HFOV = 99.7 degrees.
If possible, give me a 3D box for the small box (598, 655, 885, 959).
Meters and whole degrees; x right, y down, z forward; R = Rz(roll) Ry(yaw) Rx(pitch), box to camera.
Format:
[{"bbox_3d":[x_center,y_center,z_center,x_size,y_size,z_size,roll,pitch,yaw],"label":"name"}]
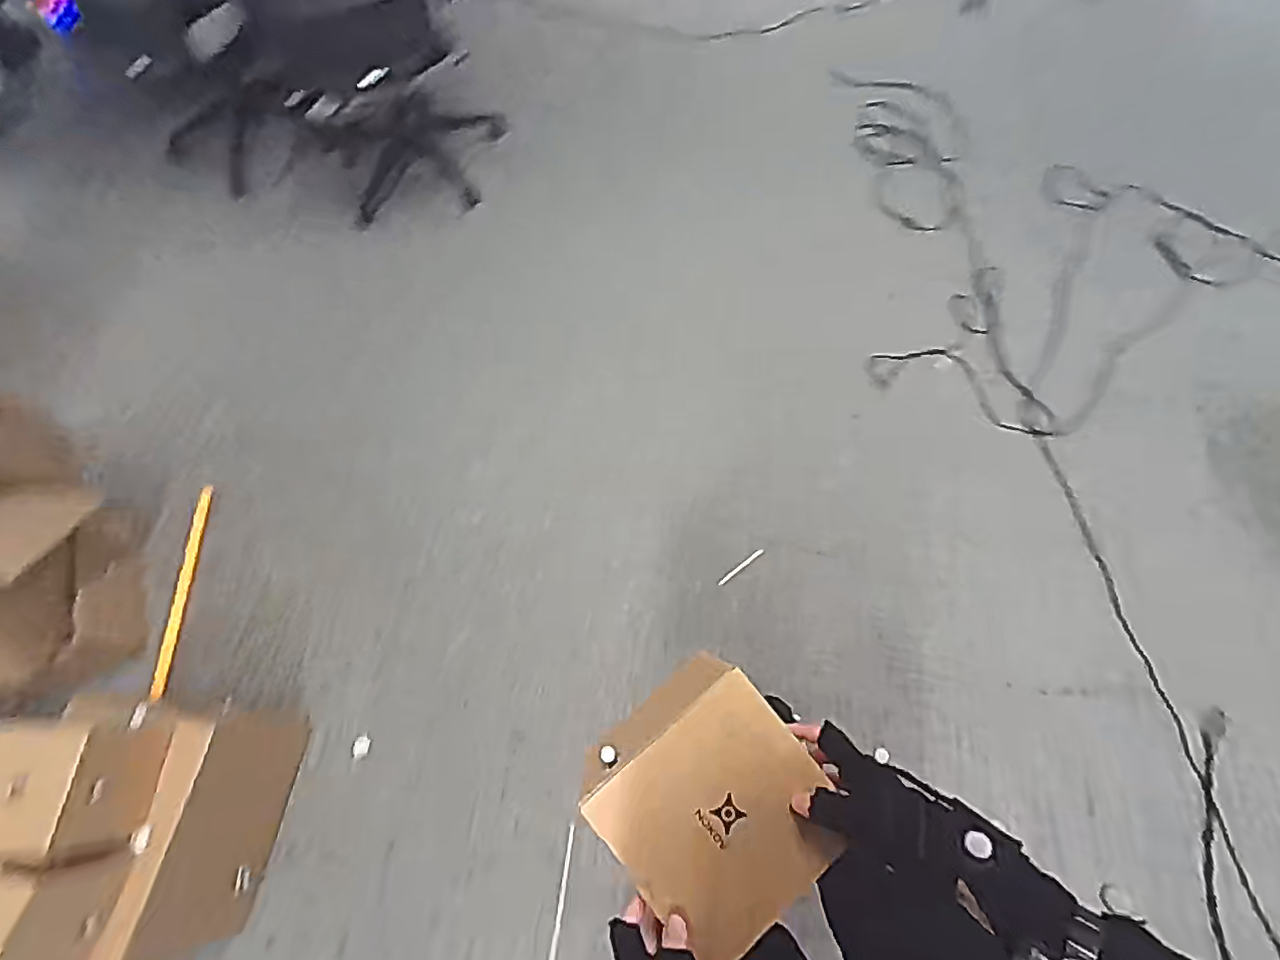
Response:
[{"bbox_3d":[0.076,0.286,0.503,0.179,0.176,0.168,-37,83,-9],"label":"small box"}]
